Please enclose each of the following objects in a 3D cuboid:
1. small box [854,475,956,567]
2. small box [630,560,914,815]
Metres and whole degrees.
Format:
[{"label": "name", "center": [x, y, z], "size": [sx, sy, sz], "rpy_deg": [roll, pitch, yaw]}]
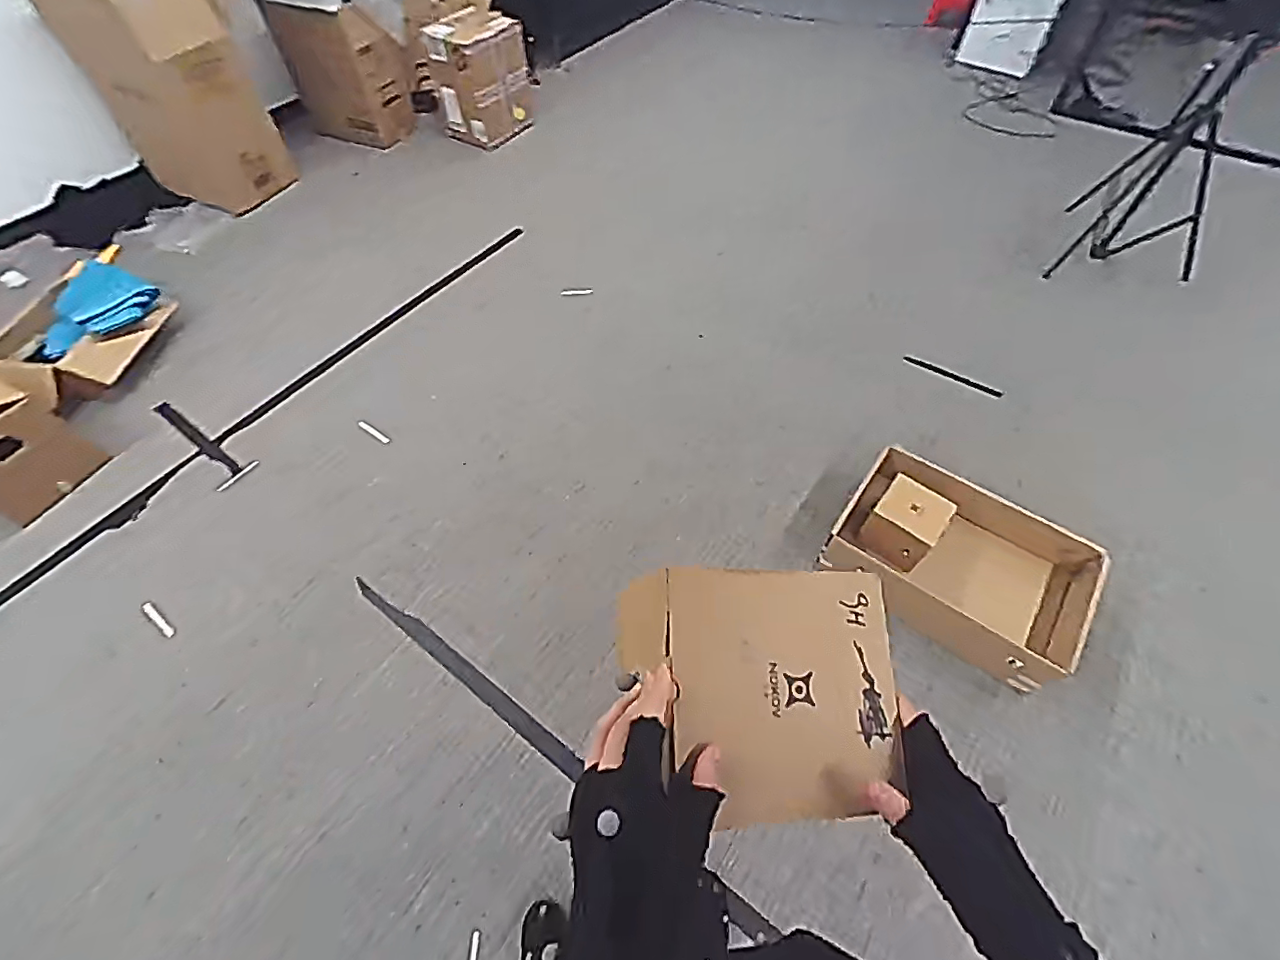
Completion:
[{"label": "small box", "center": [0.748, 0.126, 1.540], "size": [0.179, 0.176, 0.168], "rpy_deg": [34, 63, 21]}, {"label": "small box", "center": [0.089, 0.163, 0.455], "size": [0.179, 0.176, 0.168], "rpy_deg": [3, 73, -12]}]
